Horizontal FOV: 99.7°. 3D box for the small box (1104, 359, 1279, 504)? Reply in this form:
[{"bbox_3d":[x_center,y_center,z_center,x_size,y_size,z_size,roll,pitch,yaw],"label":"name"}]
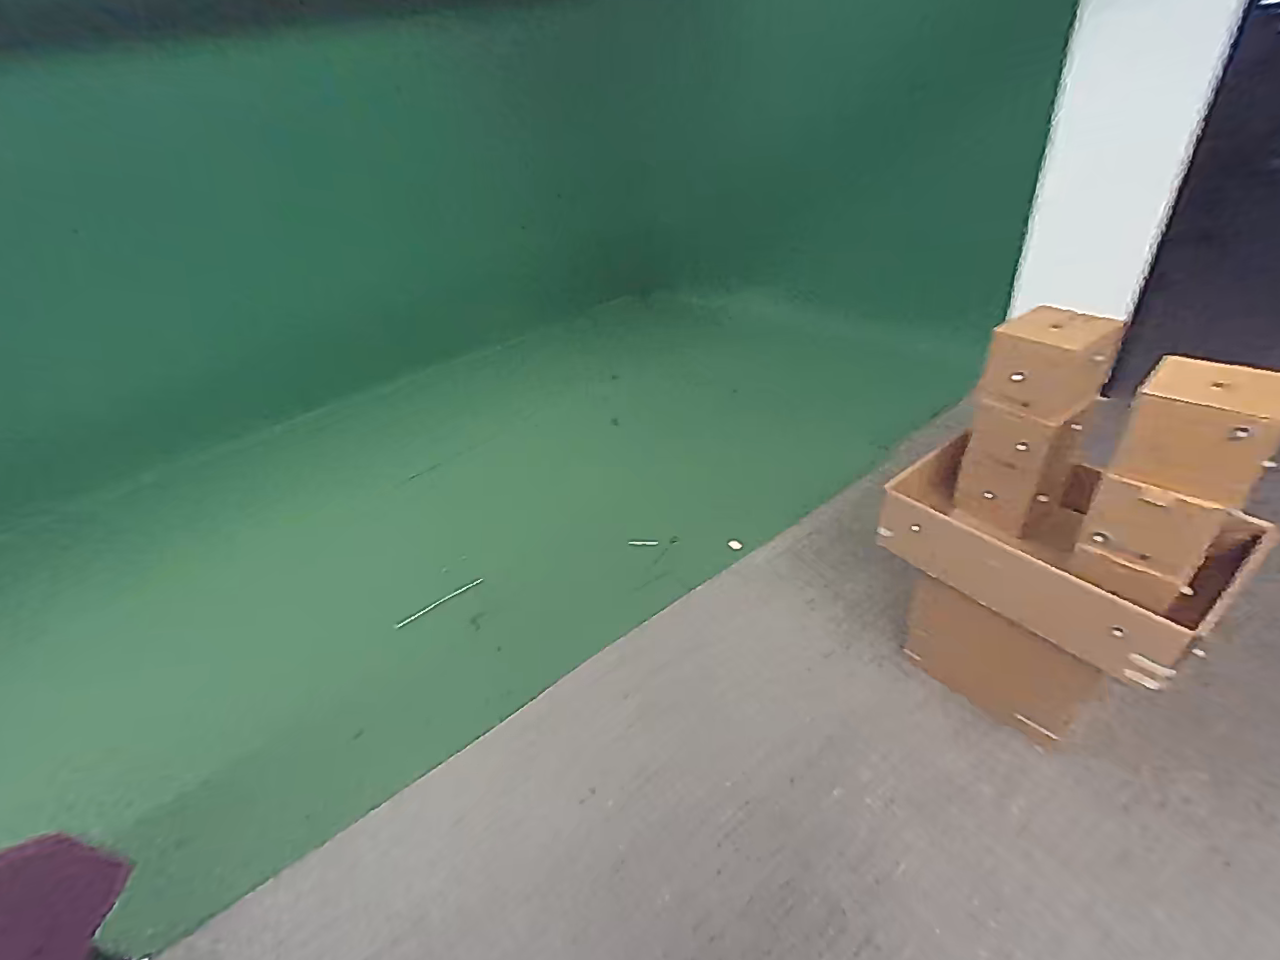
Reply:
[{"bbox_3d":[0.954,-0.085,0.933,0.168,0.176,0.179,-33,42,-27],"label":"small box"}]

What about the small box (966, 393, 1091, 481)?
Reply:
[{"bbox_3d":[0.905,-0.123,1.277,0.179,0.176,0.168,-27,40,-21],"label":"small box"}]

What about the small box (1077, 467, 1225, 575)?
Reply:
[{"bbox_3d":[0.972,0.048,1.024,0.179,0.176,0.168,-31,40,-24],"label":"small box"}]

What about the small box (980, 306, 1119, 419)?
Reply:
[{"bbox_3d":[0.881,-0.257,1.184,0.179,0.176,0.168,-26,41,-19],"label":"small box"}]
